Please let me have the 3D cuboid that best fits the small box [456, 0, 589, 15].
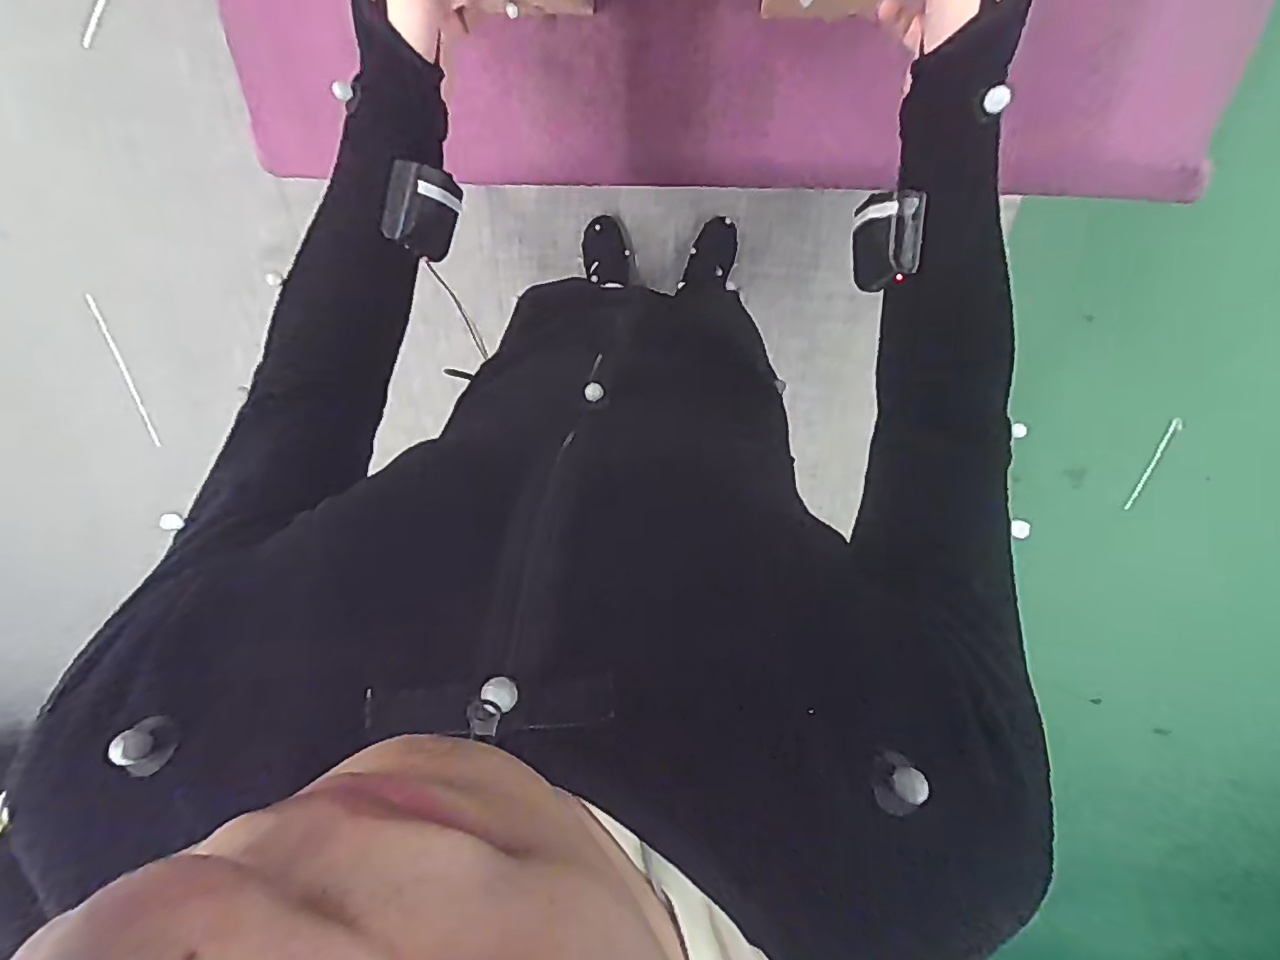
[{"bbox_3d":[-0.138,-0.582,0.516,0.168,0.176,0.179,3,120,1],"label":"small box"}]
